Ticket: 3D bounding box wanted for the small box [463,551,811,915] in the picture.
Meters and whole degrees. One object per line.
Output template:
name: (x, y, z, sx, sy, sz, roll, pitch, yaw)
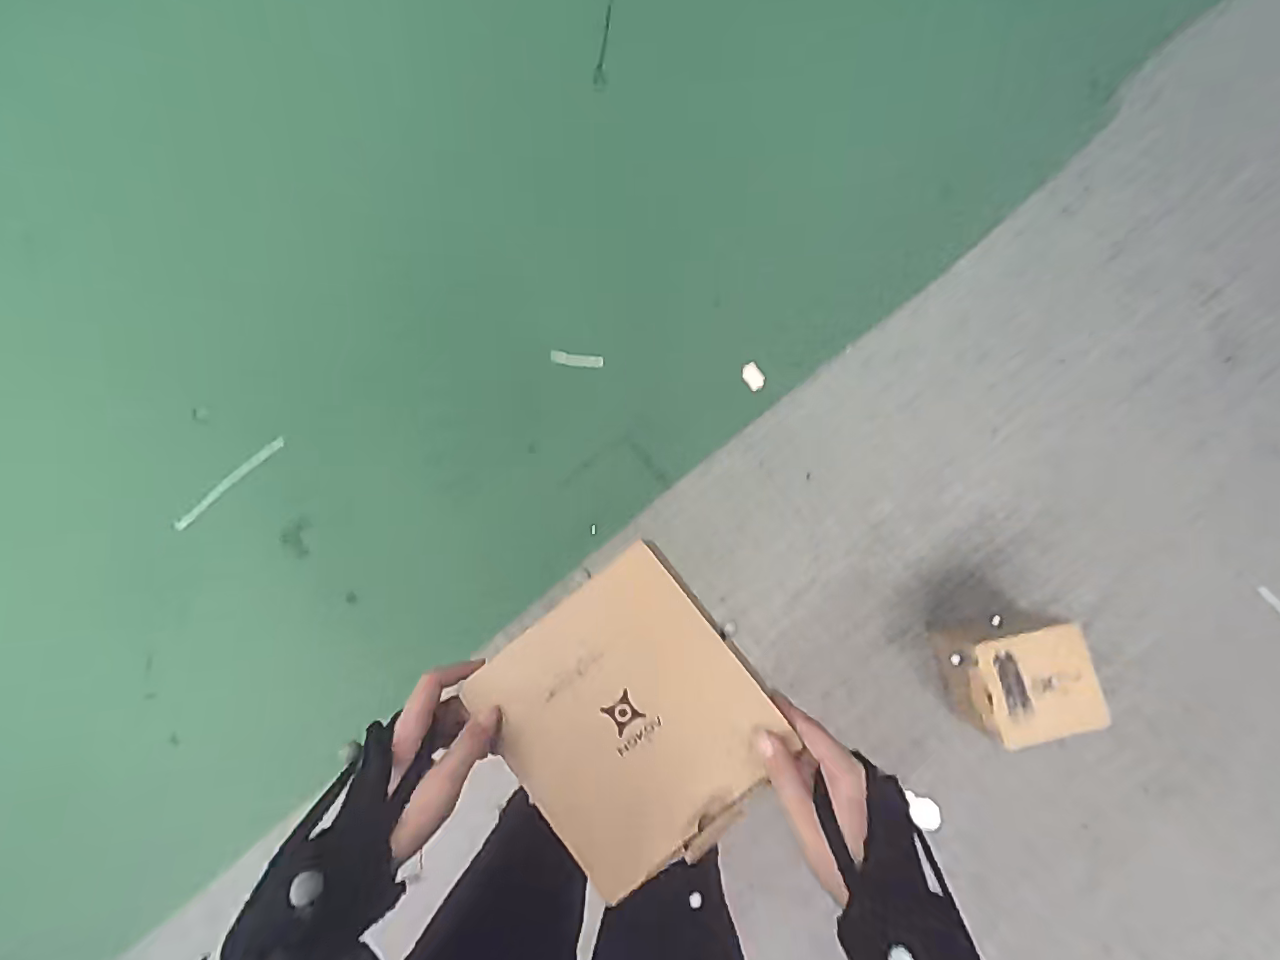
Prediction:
small box: (0.000, 0.170, 0.433, 0.168, 0.176, 0.179, -38, 83, -2)
